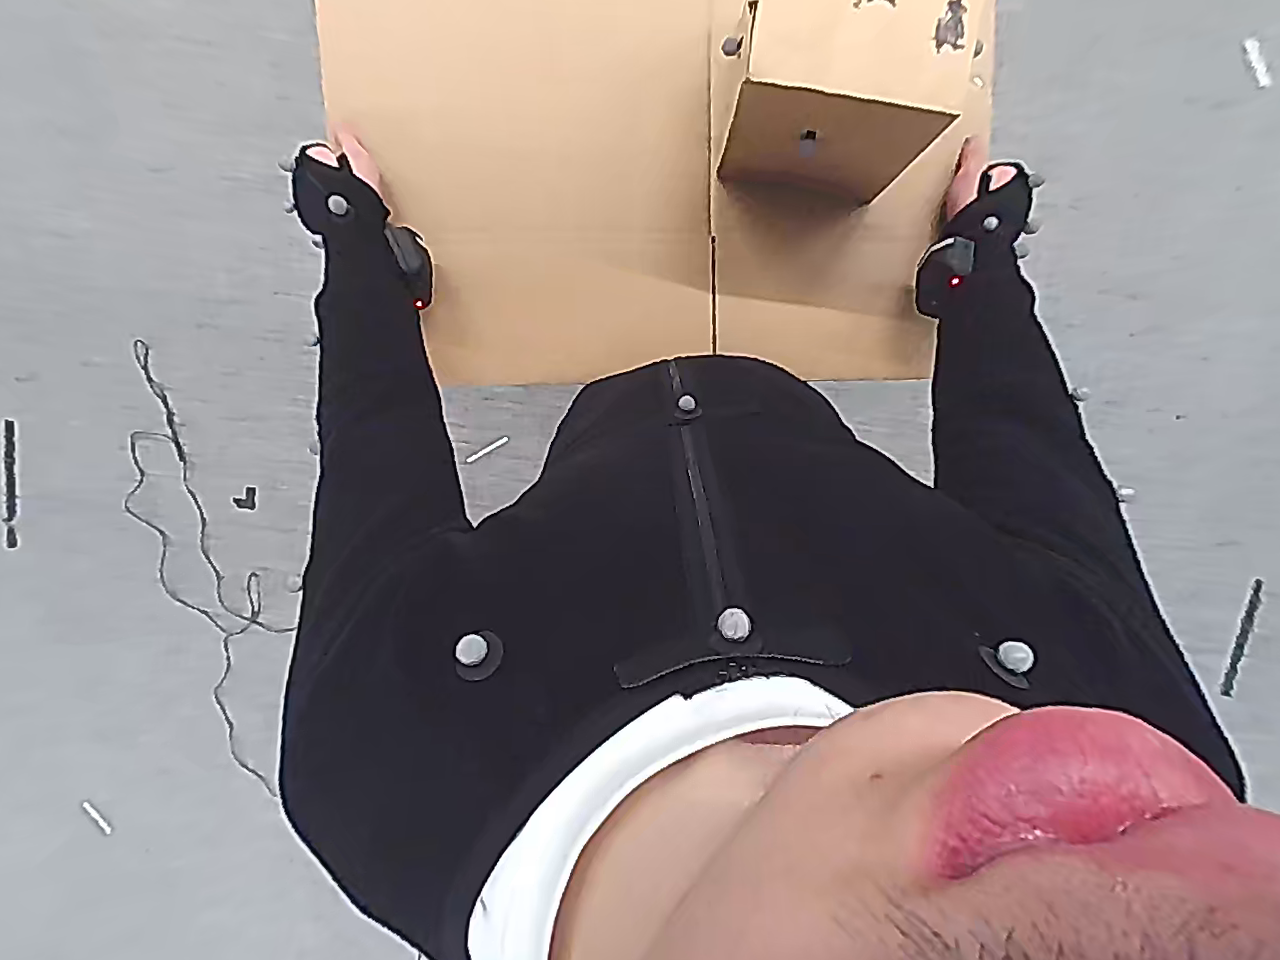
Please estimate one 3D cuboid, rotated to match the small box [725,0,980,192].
[{"bbox_3d":[0.183,-0.394,0.504,0.179,0.176,0.168,9,97,1],"label":"small box"}]
